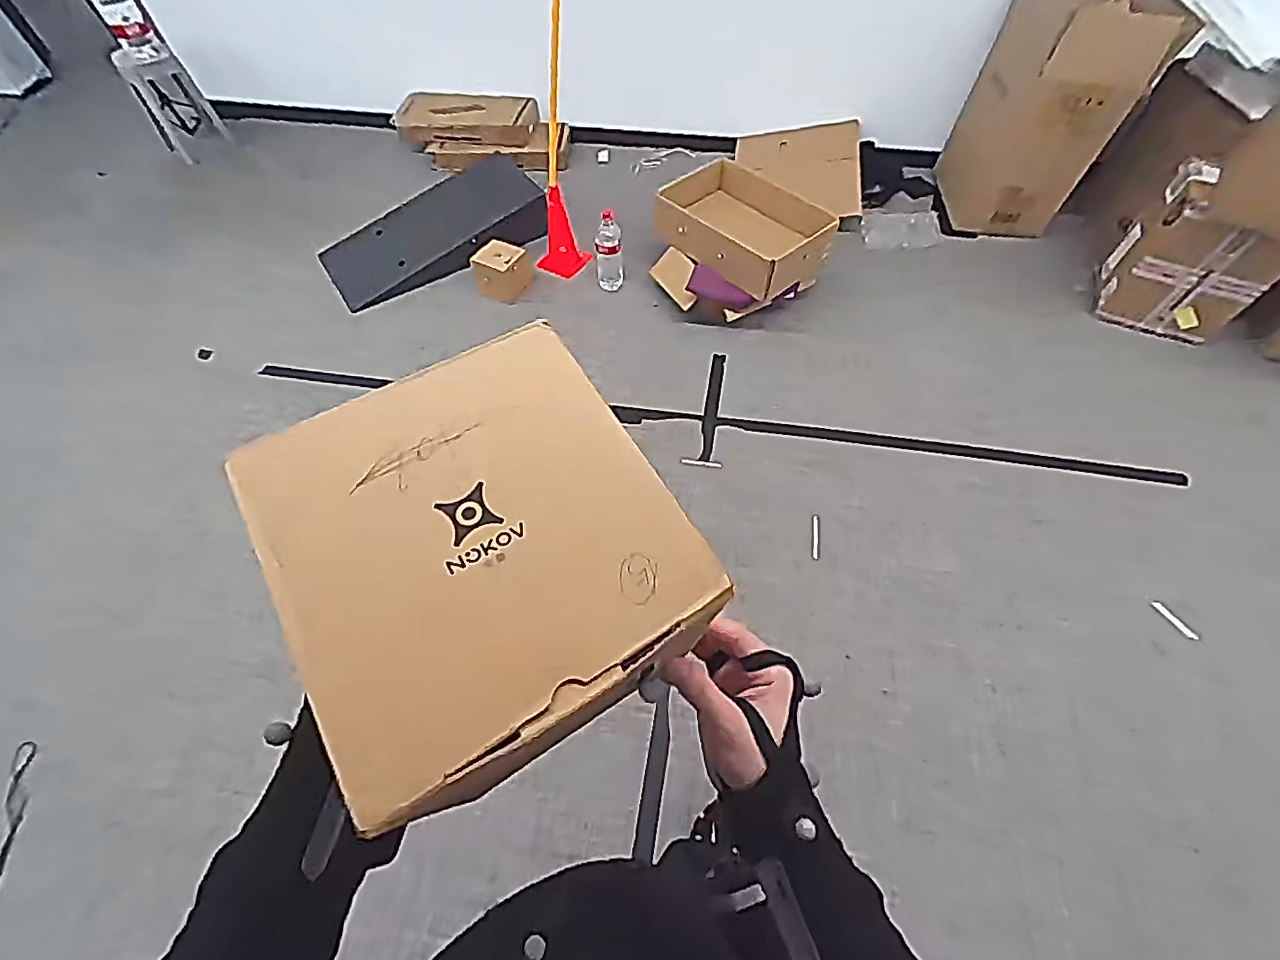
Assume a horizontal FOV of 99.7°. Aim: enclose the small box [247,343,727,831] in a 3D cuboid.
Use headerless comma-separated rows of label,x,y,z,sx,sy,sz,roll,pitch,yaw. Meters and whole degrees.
small box,-0.076,0.062,0.321,0.168,0.176,0.179,-31,68,-17
